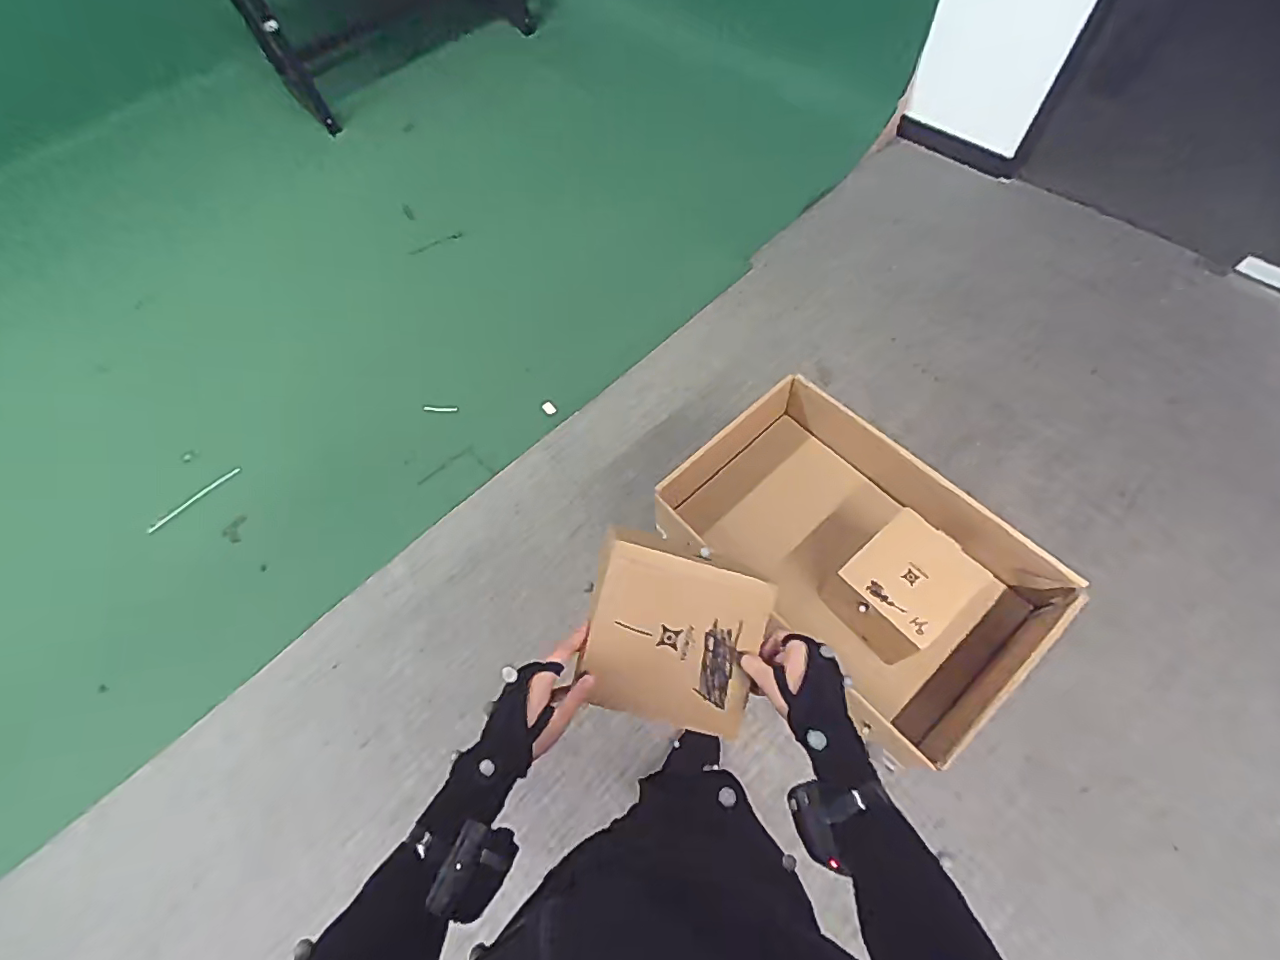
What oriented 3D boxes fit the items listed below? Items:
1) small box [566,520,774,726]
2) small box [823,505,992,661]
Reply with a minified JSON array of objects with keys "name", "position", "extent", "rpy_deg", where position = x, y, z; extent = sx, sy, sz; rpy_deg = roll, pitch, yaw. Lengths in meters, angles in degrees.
[{"name":"small box","position":[0.025,0.147,0.616],"extent":[0.179,0.176,0.168],"rpy_deg":[16,88,-4]},{"name":"small box","position":[0.439,0.180,0.919],"extent":[0.179,0.176,0.168],"rpy_deg":[-38,64,-13]}]
